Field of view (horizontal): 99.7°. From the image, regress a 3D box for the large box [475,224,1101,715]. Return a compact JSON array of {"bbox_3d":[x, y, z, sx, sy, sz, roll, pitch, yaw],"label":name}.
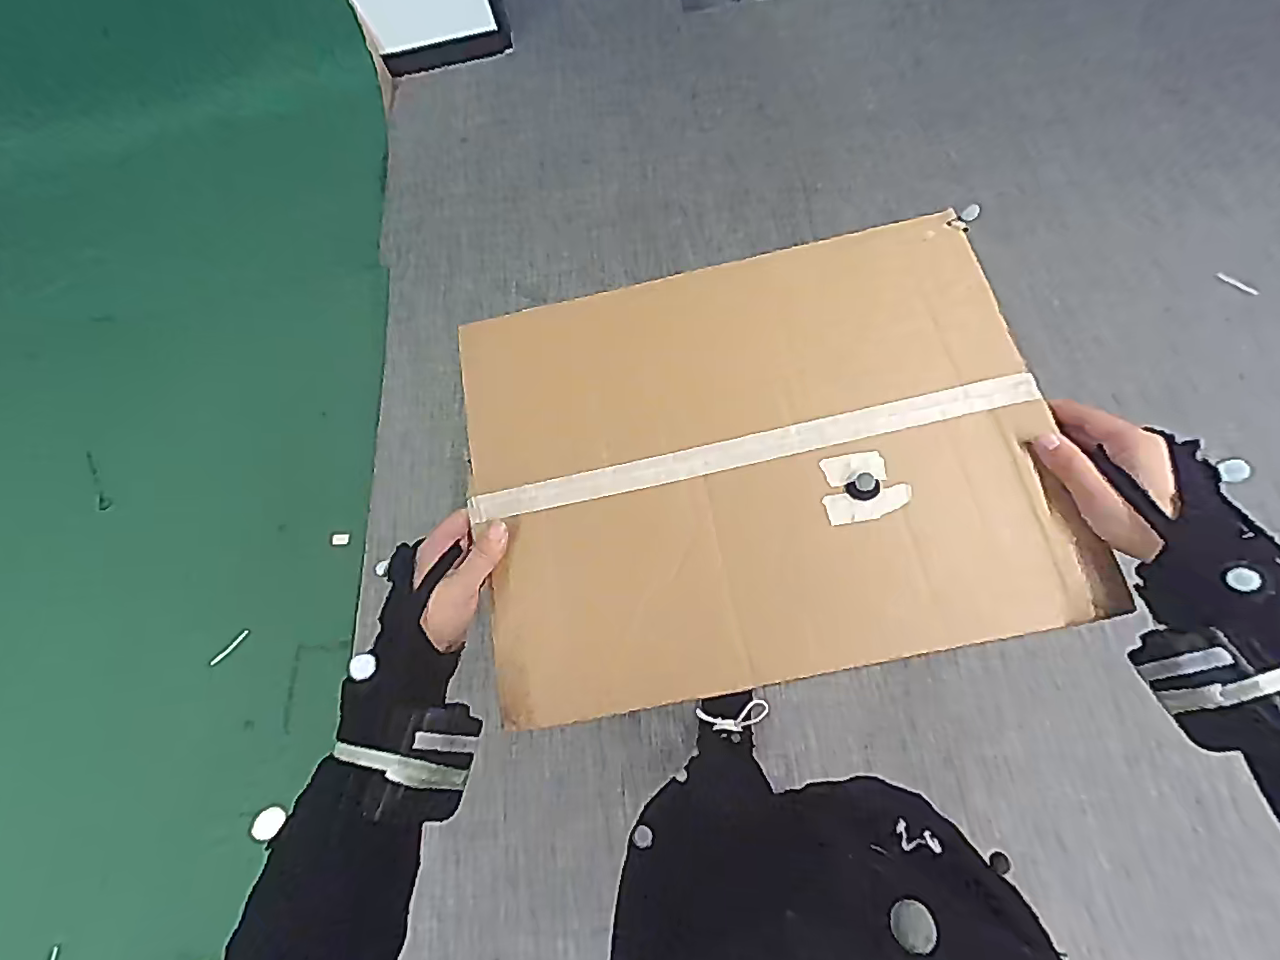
[{"bbox_3d":[0.095,0.017,0.546,0.408,0.320,0.320,-12,74,2],"label":"large box"}]
